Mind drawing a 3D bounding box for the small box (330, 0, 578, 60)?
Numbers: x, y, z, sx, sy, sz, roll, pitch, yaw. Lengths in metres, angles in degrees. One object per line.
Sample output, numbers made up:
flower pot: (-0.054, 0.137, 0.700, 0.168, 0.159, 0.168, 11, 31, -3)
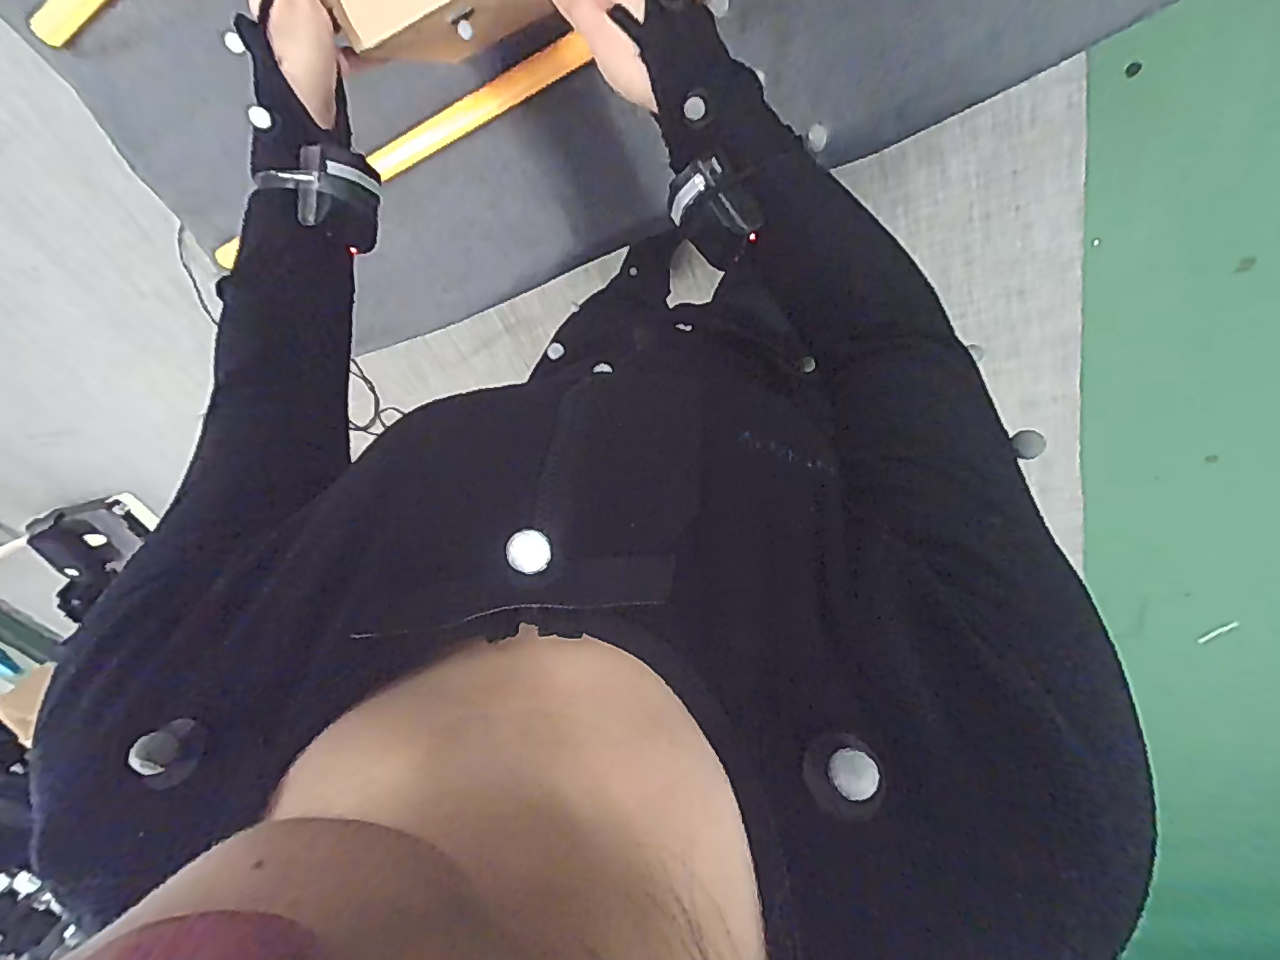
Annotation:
small box: (-0.145, -0.443, 0.404, 0.179, 0.176, 0.168, -11, 124, 20)
